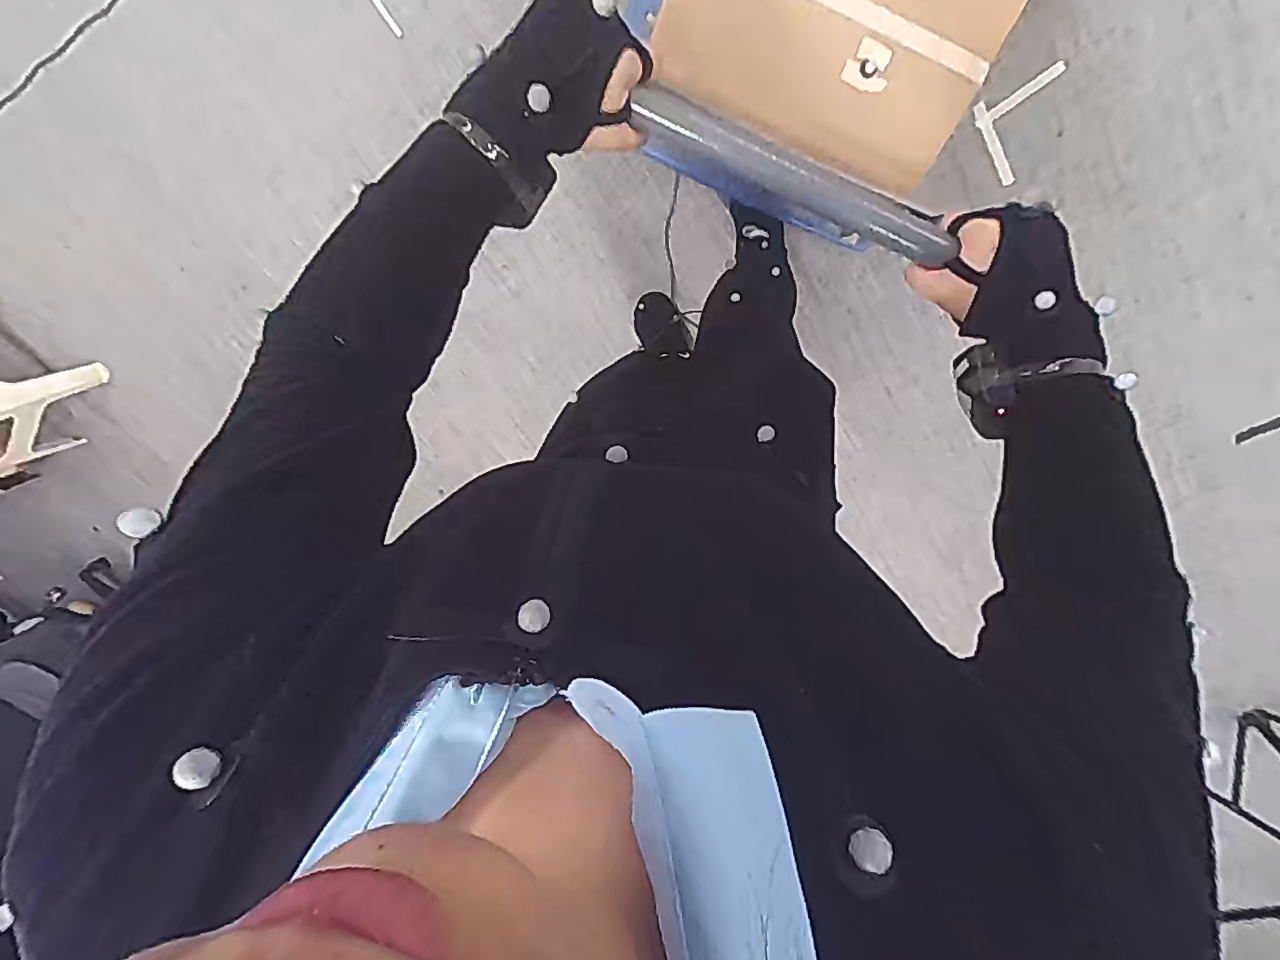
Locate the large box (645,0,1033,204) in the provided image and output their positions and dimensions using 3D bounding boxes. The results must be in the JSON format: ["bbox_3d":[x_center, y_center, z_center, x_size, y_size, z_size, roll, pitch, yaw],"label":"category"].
[{"bbox_3d":[0.254,-0.638,0.768,0.408,0.320,0.320,22,121,-7],"label":"large box"}]
